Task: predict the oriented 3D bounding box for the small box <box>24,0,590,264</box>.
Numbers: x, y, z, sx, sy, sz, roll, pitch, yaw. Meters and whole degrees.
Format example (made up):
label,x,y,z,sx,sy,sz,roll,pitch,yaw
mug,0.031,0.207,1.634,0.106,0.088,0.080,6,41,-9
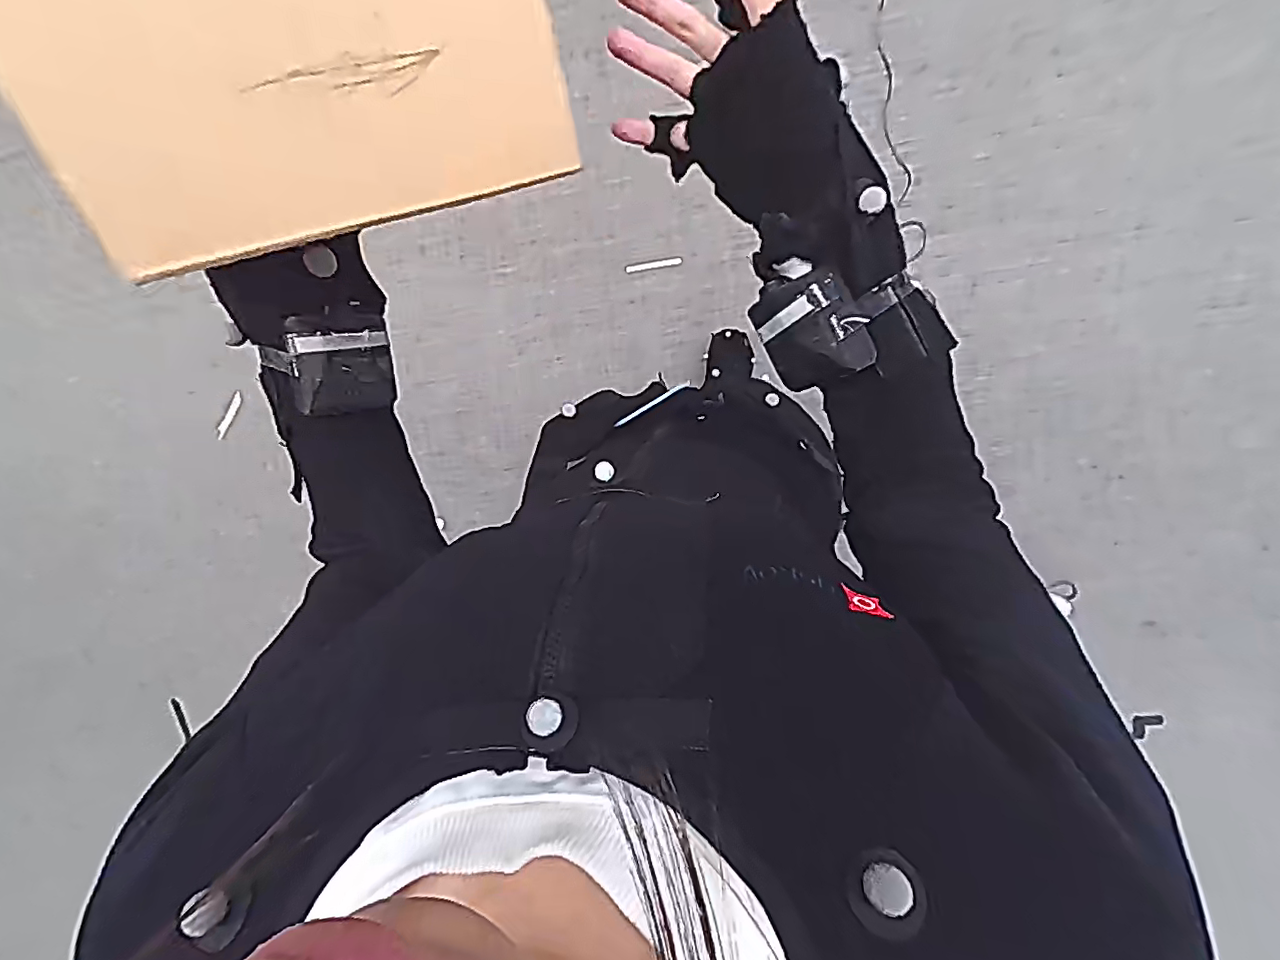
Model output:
label,x,y,z,sx,sy,sz,roll,pitch,yaw
small box,-0.150,-0.201,0.230,0.168,0.176,0.179,-29,123,-25
